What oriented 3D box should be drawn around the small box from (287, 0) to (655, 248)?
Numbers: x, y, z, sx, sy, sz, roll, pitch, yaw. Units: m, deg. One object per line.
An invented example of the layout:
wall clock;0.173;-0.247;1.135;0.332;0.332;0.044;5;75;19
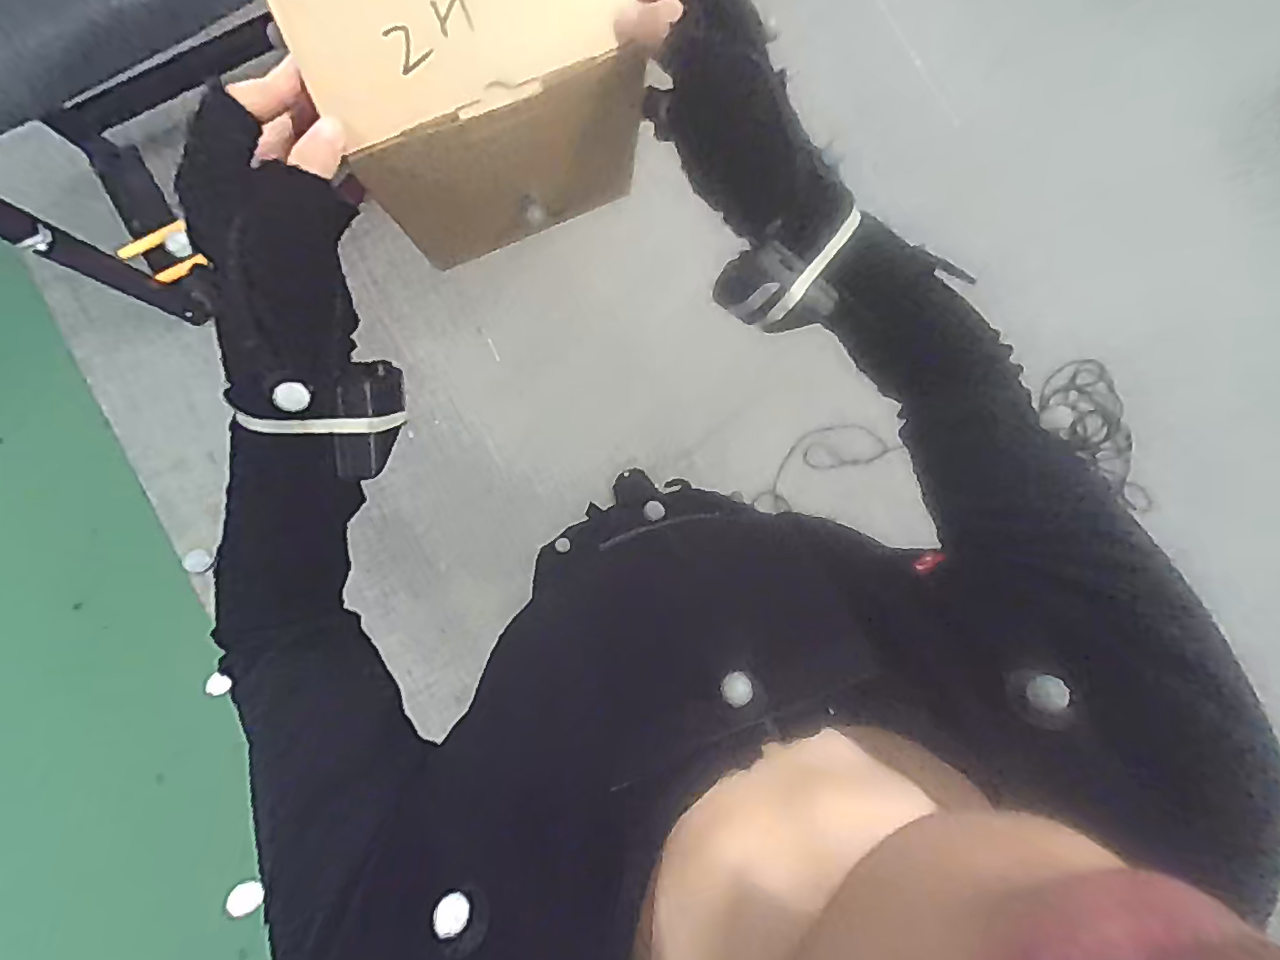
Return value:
small box;-0.106;-0.281;0.333;0.168;0.176;0.179;-24;94;-2
